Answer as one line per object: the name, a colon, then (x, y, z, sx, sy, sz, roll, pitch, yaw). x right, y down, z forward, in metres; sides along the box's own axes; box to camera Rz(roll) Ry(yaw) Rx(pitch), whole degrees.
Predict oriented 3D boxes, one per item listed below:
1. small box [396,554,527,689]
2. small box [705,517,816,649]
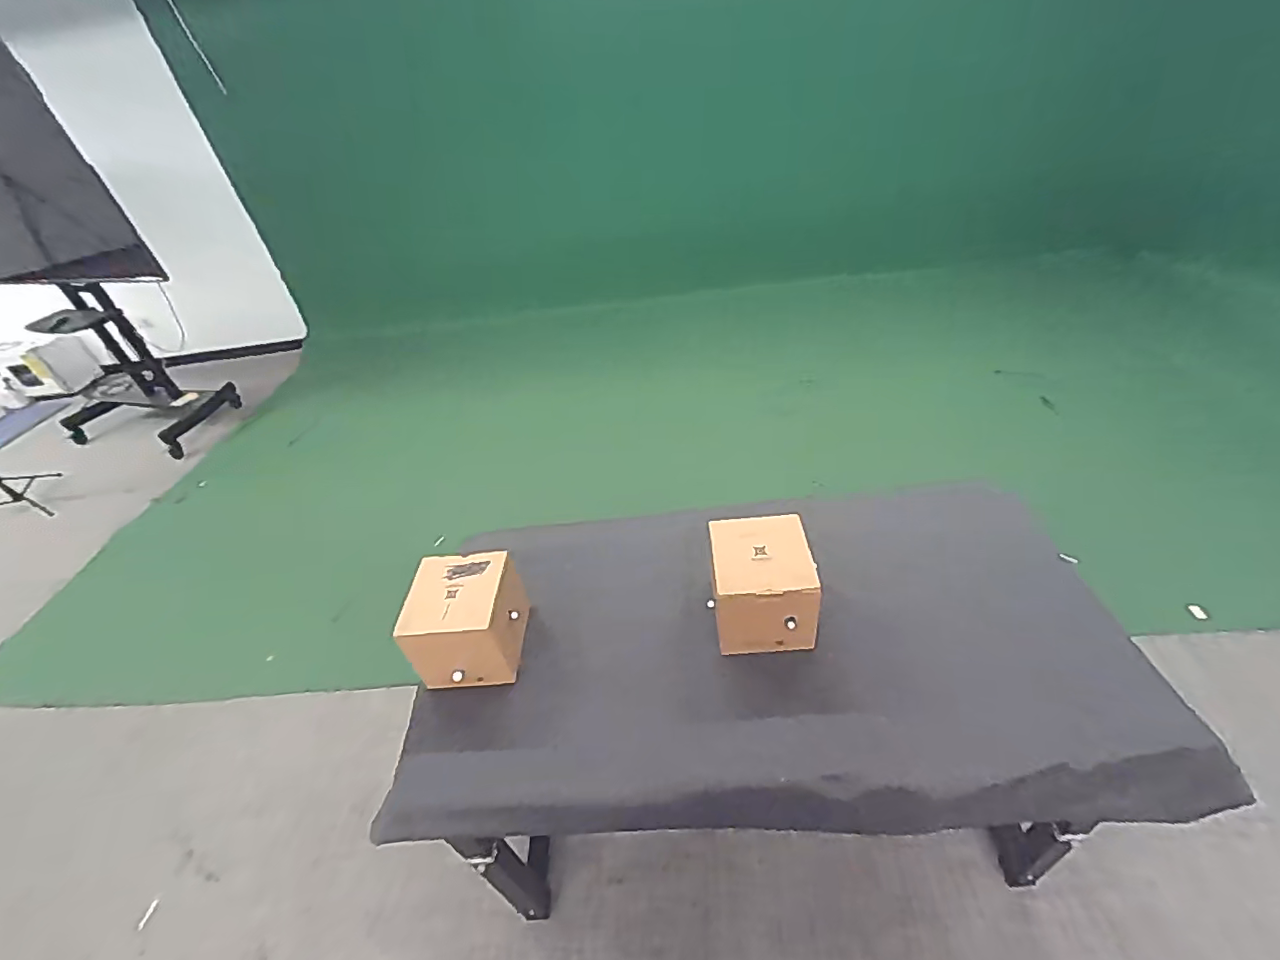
small box: (-0.314, 0.260, 0.998, 0.168, 0.176, 0.179, -6, 40, 4)
small box: (0.212, 0.192, 0.983, 0.168, 0.176, 0.179, -5, 38, 3)
